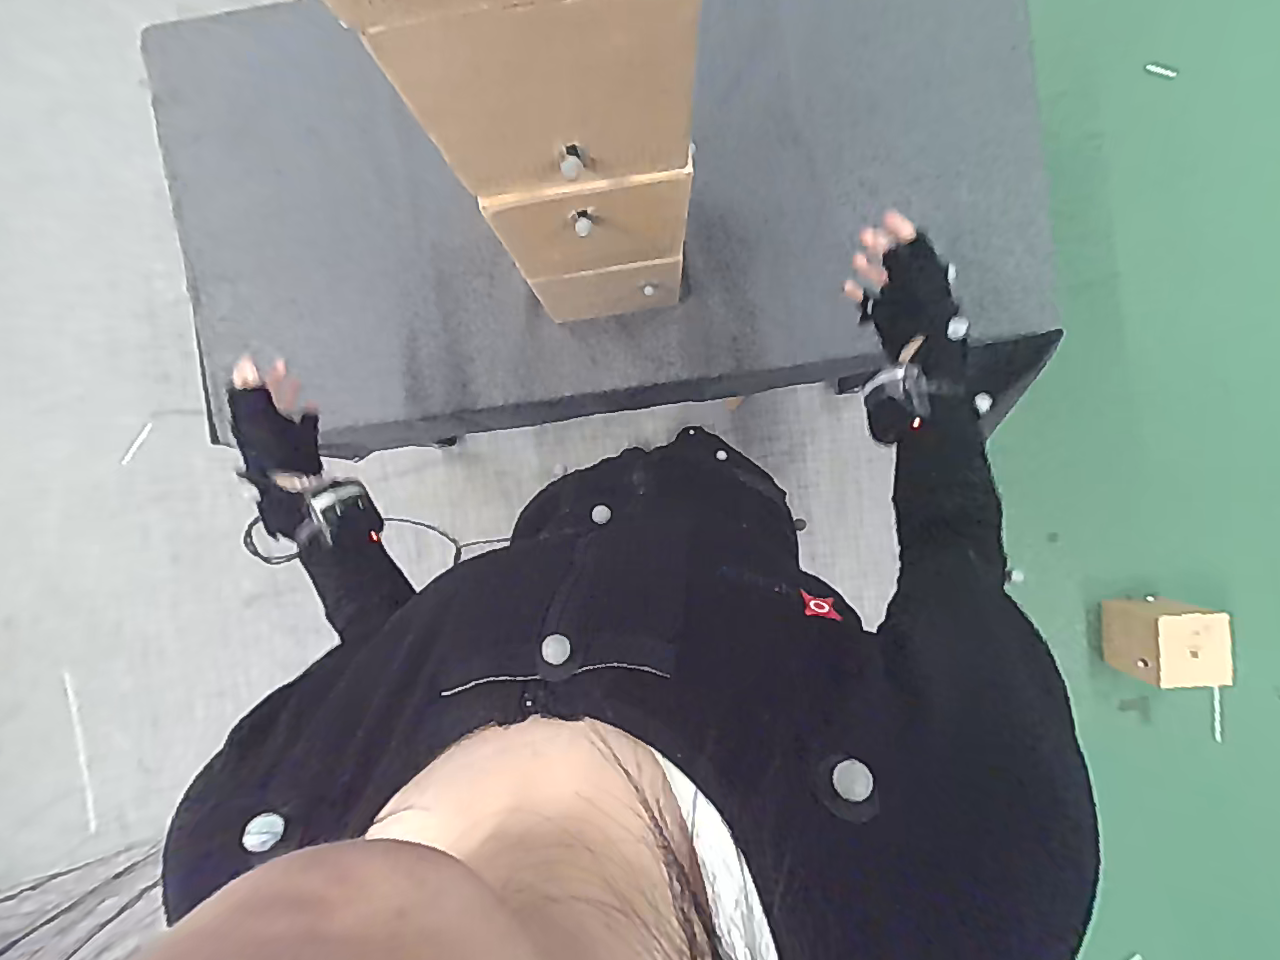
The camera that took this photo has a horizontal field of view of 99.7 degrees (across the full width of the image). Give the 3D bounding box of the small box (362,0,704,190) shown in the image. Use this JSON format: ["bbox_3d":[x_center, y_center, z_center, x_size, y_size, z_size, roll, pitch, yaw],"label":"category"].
[{"bbox_3d":[-0.060,-0.316,0.349,0.179,0.176,0.168,-6,91,2],"label":"small box"}]

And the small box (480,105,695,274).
[{"bbox_3d":[-0.051,-0.314,0.512,0.179,0.176,0.168,-9,91,2],"label":"small box"}]

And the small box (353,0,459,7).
[{"bbox_3d":[-0.072,-0.315,0.185,0.179,0.176,0.168,-8,91,2],"label":"small box"}]

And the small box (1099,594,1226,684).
[{"bbox_3d":[1.311,0.396,1.367,0.168,0.176,0.179,-4,91,2],"label":"small box"}]
